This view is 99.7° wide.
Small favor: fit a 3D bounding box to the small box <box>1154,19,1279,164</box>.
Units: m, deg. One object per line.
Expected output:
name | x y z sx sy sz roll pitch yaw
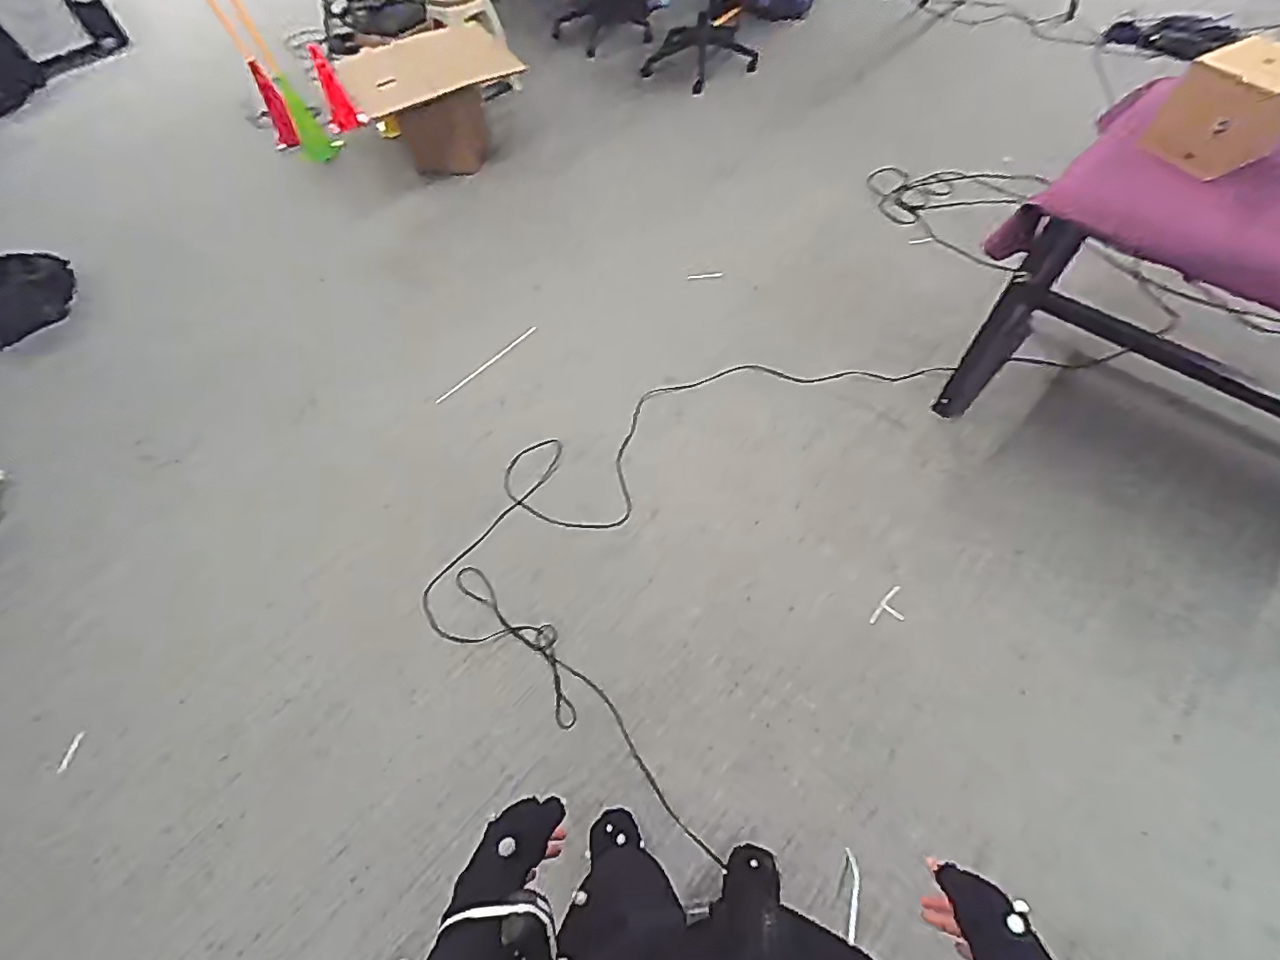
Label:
small box | 1.186 -0.760 1.066 0.179 0.176 0.168 -24 61 -10
